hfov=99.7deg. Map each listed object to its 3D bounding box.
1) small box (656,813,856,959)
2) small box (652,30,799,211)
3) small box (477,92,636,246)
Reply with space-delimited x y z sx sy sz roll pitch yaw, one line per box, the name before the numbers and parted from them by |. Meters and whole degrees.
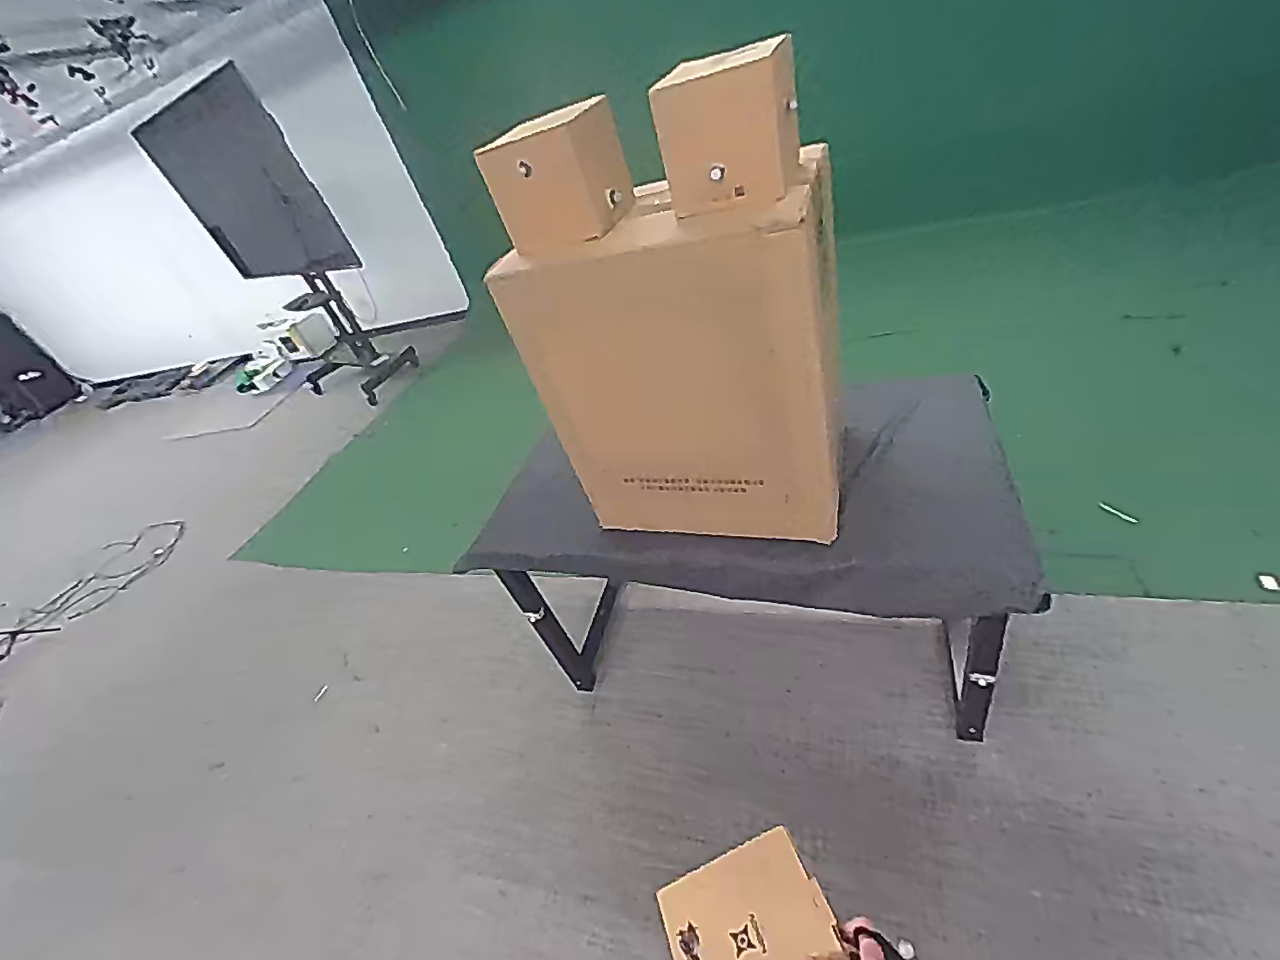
small box | 0.143 0.539 0.633 0.179 0.176 0.168 -26 34 -2
small box | 0.136 -0.517 0.789 0.168 0.176 0.179 3 46 24
small box | -0.129 -0.509 0.903 0.179 0.176 0.168 2 47 25
